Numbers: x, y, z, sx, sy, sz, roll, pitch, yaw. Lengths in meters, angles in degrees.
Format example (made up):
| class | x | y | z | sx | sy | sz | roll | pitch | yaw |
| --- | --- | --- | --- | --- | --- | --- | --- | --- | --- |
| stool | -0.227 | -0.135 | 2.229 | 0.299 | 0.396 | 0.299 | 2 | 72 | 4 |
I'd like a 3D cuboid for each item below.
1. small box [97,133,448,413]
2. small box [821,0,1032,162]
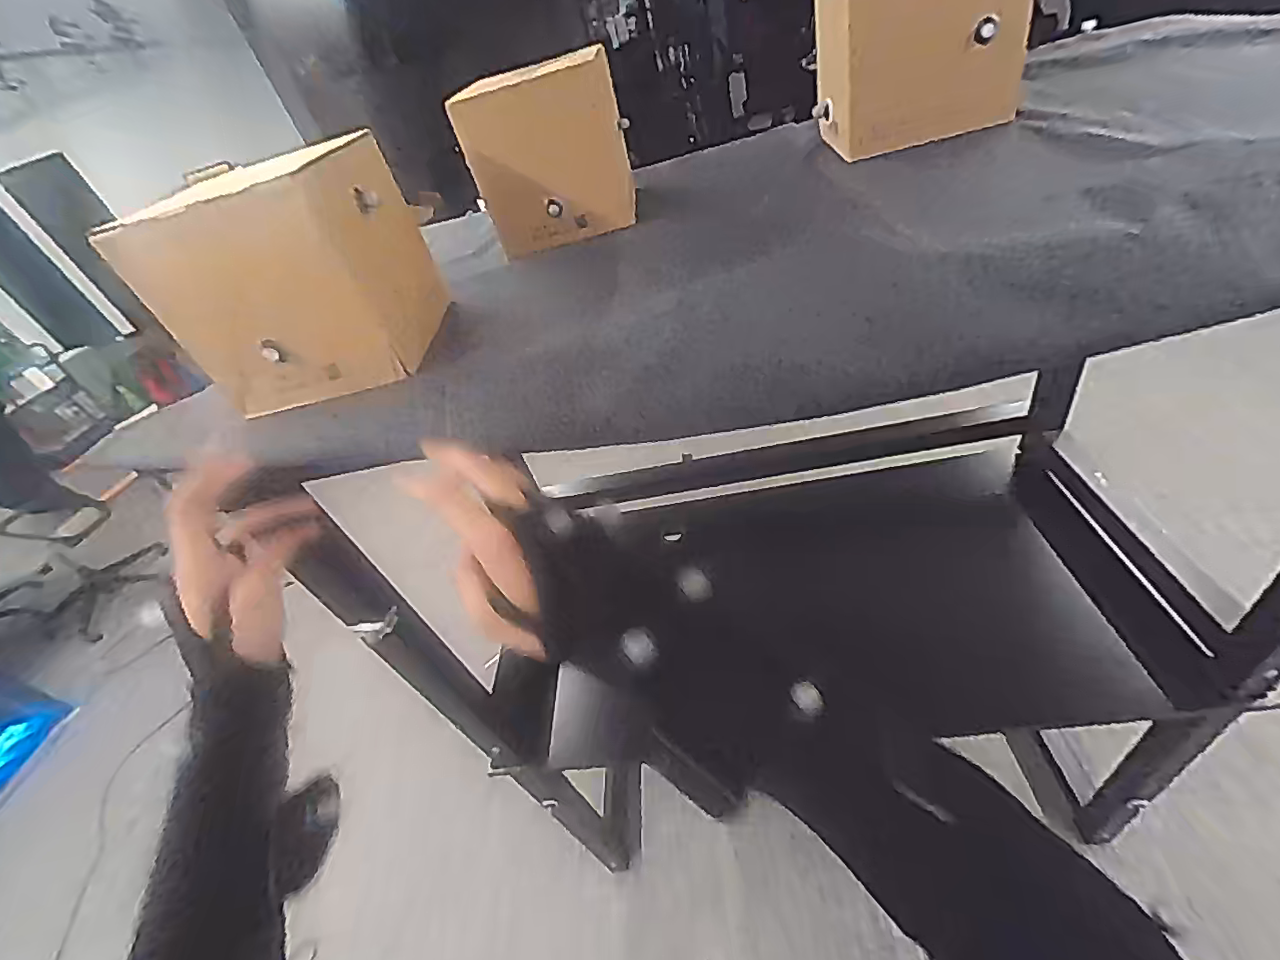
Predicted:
| class | x | y | z | sx | sy | sz | roll | pitch | yaw |
| --- | --- | --- | --- | --- | --- | --- | --- | --- | --- |
| small box | -0.297 | -0.187 | 0.491 | 0.168 | 0.176 | 0.179 | -12 | 41 | 7 |
| small box | 0.307 | -0.485 | 0.609 | 0.179 | 0.176 | 0.168 | -9 | 40 | 11 |
